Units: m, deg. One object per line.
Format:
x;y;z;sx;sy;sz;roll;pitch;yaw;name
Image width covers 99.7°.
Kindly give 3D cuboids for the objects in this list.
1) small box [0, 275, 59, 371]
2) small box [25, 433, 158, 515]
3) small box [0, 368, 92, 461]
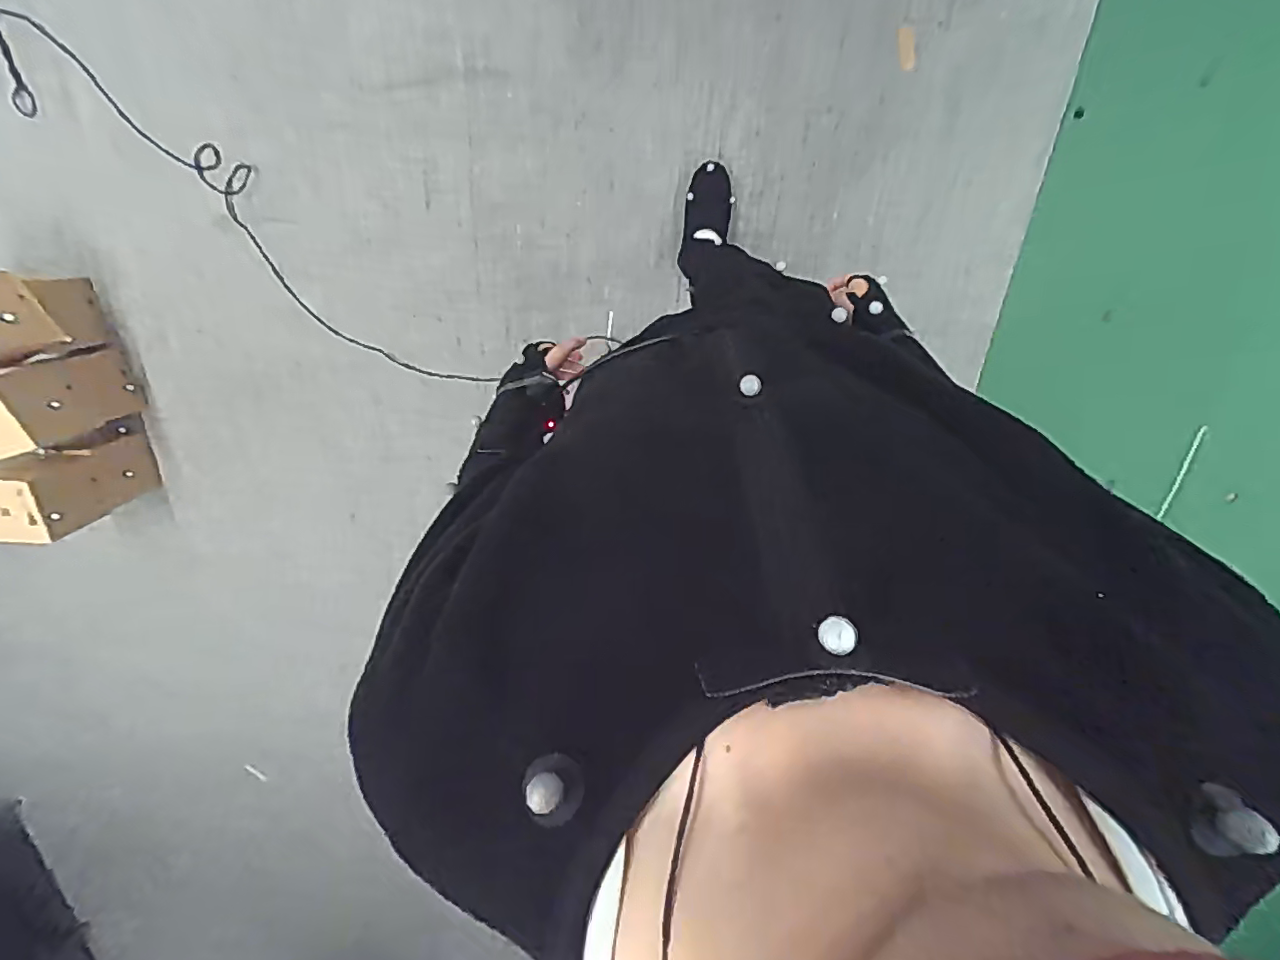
-1.431;-0.329;1.160;0.179;0.176;0.168;-20;111;10;small box
-1.475;-0.021;1.468;0.168;0.176;0.179;3;113;0;small box
-1.430;-0.148;1.239;0.179;0.176;0.168;-13;112;6;small box
